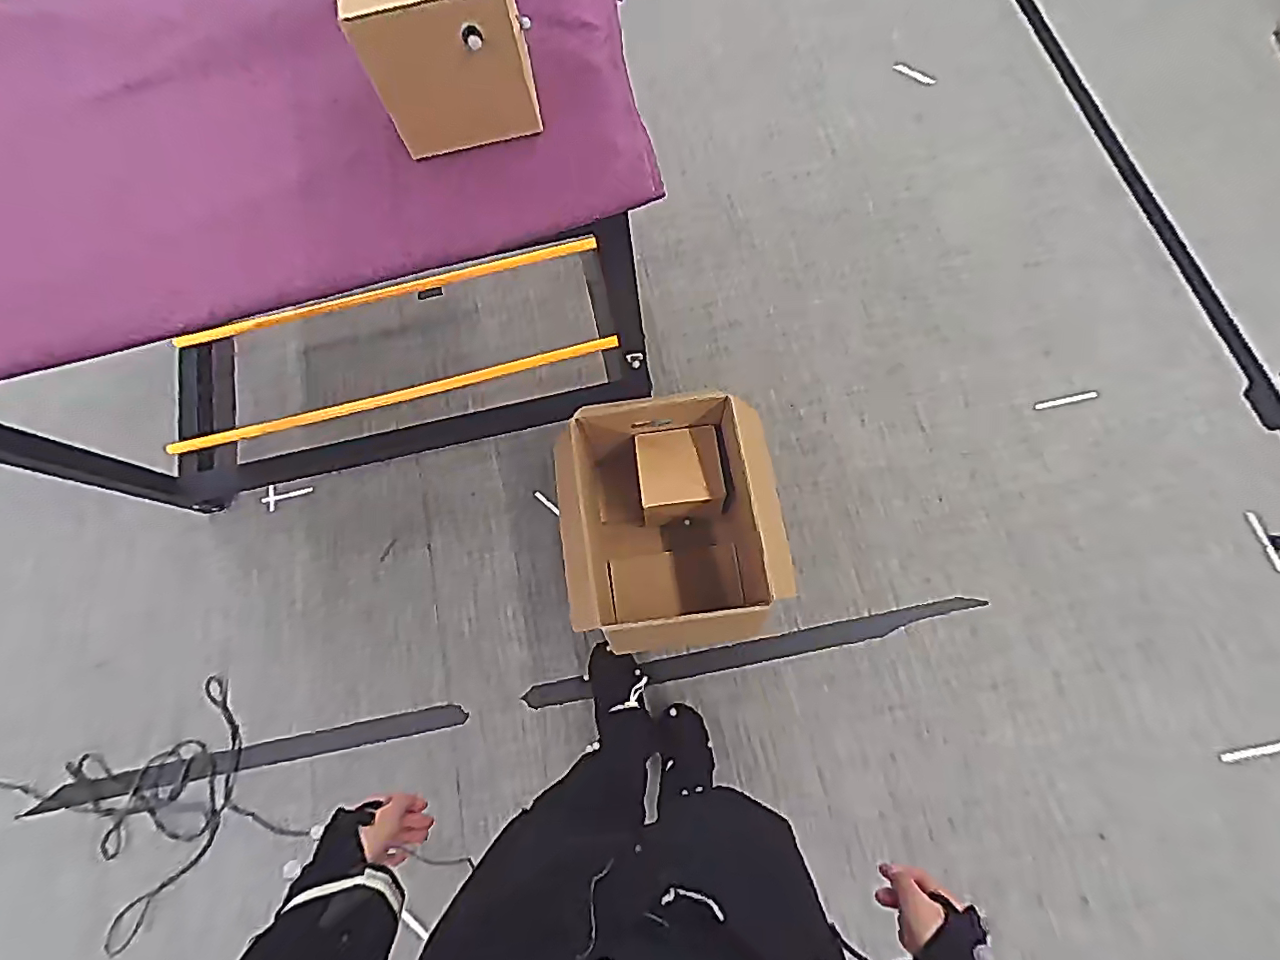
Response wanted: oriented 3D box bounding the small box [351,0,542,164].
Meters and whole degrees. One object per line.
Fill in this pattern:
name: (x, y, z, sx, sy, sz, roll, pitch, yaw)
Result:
small box: (-0.225, -0.529, 0.662, 0.179, 0.176, 0.168, -12, 71, 0)
